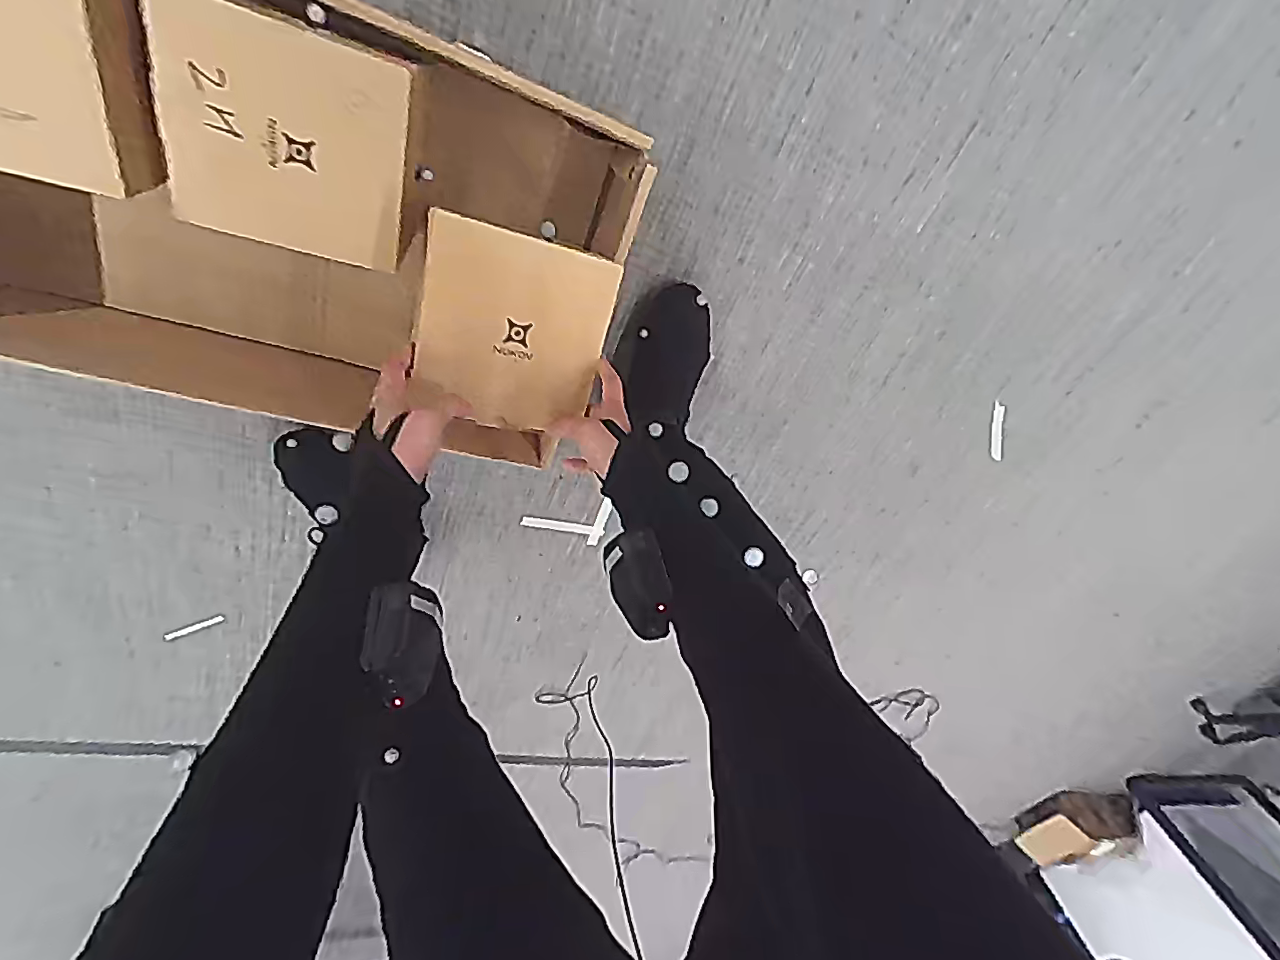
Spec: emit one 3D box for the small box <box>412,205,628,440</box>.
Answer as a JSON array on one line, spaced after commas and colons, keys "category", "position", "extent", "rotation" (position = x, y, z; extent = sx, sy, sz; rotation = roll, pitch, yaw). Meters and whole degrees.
[{"category": "small box", "position": [-0.133, -0.162, 0.548], "extent": [0.168, 0.176, 0.179], "rotation": [7, 116, -24]}]
